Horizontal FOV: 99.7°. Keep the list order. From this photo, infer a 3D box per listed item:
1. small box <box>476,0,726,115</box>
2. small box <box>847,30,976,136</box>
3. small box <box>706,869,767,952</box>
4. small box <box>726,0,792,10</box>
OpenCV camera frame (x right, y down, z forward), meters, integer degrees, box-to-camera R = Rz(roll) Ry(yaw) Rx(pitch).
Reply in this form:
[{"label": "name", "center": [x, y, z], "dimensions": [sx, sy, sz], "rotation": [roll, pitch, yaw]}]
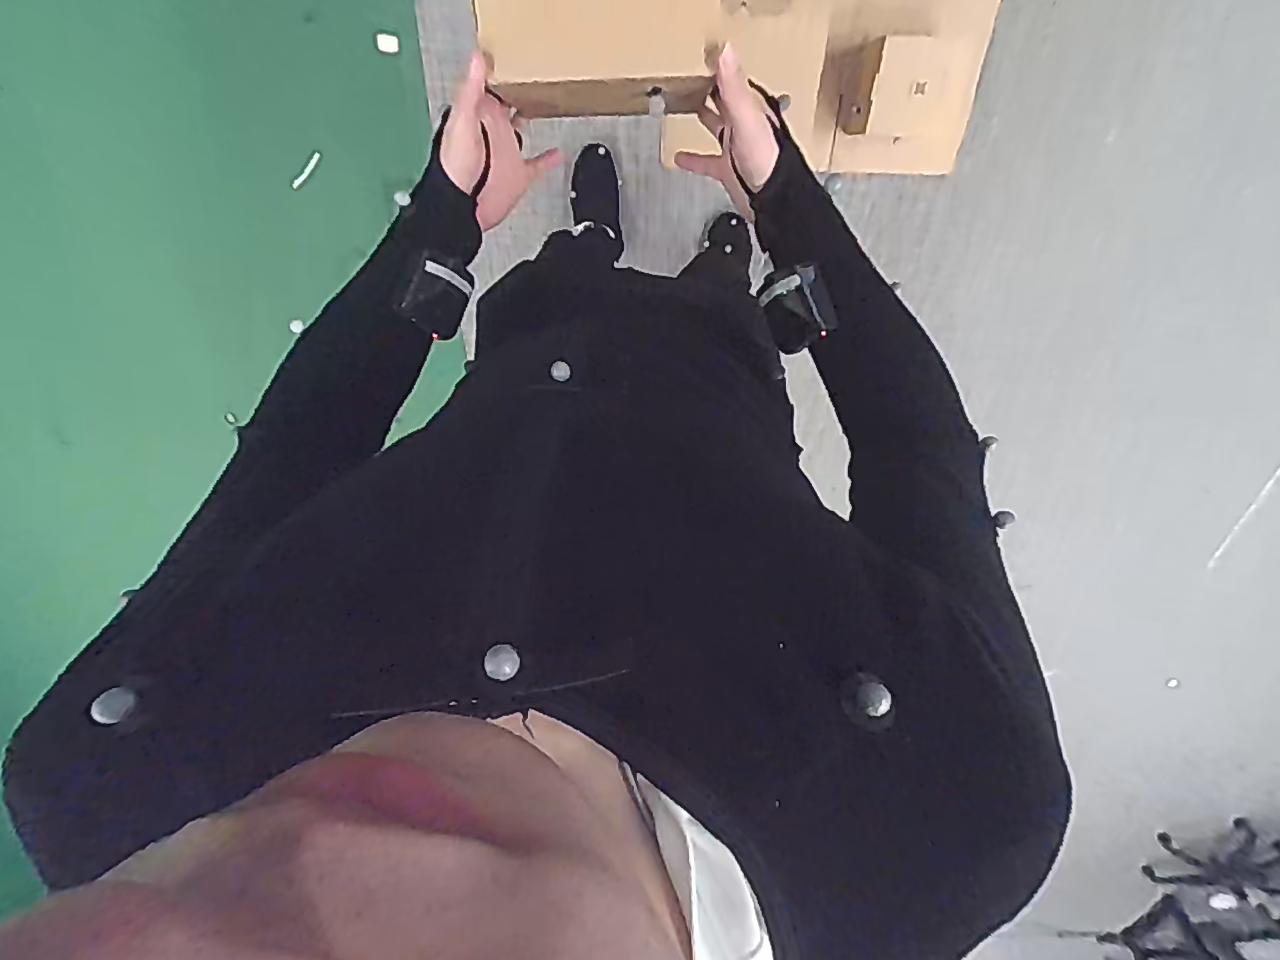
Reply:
[{"label": "small box", "center": [-0.026, -0.402, 0.428], "dimensions": [0.179, 0.176, 0.168], "rotation": [1, 116, 3]}, {"label": "small box", "center": [0.557, -0.829, 1.143], "dimensions": [0.179, 0.176, 0.168], "rotation": [4, 123, 1]}, {"label": "small box", "center": [0.304, 1.383, 1.743], "dimensions": [0.179, 0.176, 0.168], "rotation": [-1, 123, 3]}, {"label": "small box", "center": [0.222, -1.026, 1.030], "dimensions": [0.179, 0.176, 0.168], "rotation": [9, 123, -3]}]
